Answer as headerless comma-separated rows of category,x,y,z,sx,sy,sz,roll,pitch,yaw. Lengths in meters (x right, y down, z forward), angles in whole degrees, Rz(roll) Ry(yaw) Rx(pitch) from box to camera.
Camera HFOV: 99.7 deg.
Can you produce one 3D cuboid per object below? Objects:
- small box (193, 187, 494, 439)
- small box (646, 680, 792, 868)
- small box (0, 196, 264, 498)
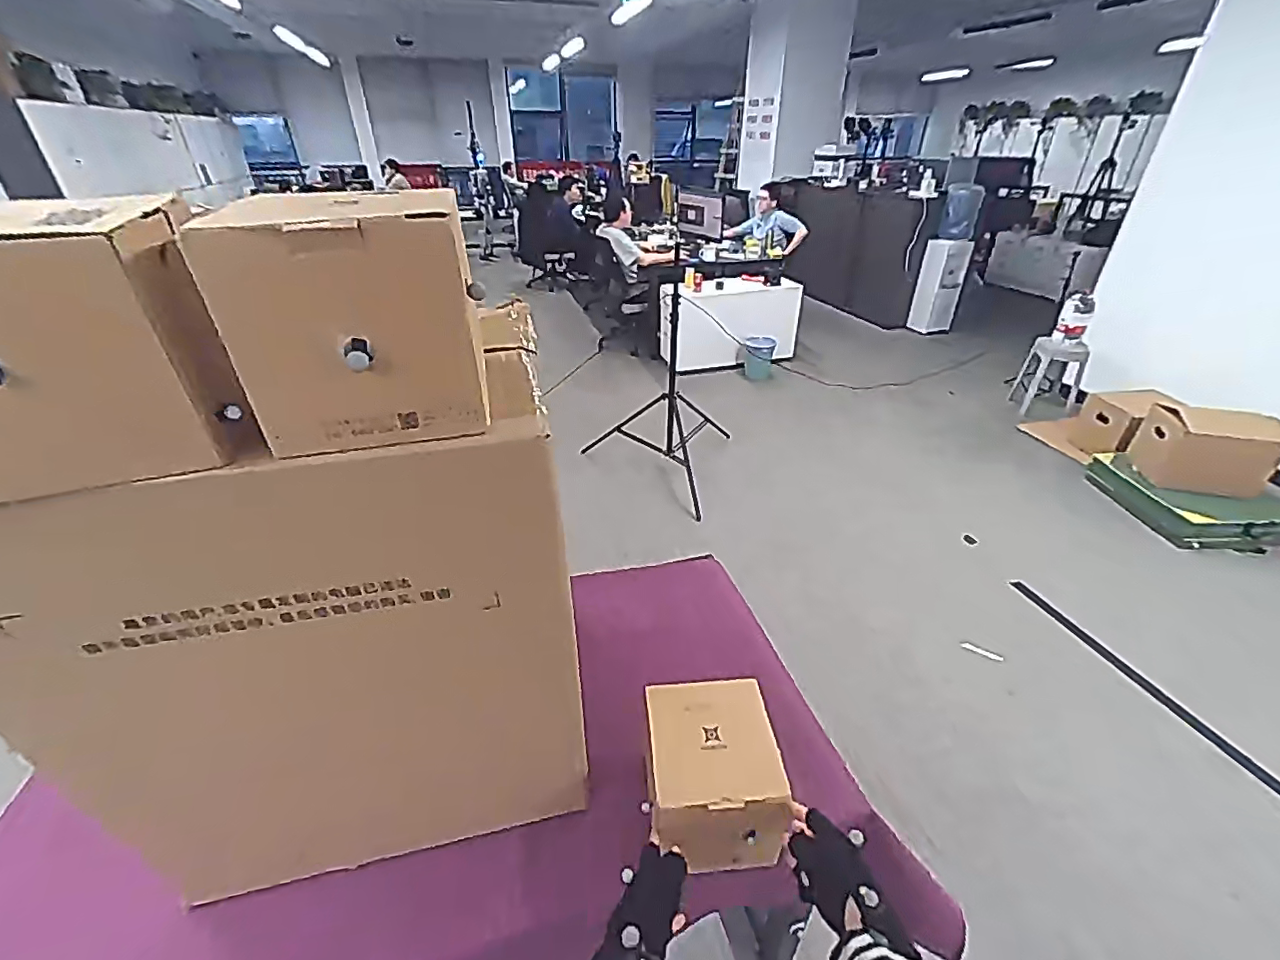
small box,-0.222,-0.144,0.463,0.168,0.176,0.179,-8,35,-13
small box,0.098,0.410,0.754,0.168,0.176,0.179,-2,31,-4
small box,-0.416,-0.105,0.404,0.179,0.176,0.168,-13,36,-17
